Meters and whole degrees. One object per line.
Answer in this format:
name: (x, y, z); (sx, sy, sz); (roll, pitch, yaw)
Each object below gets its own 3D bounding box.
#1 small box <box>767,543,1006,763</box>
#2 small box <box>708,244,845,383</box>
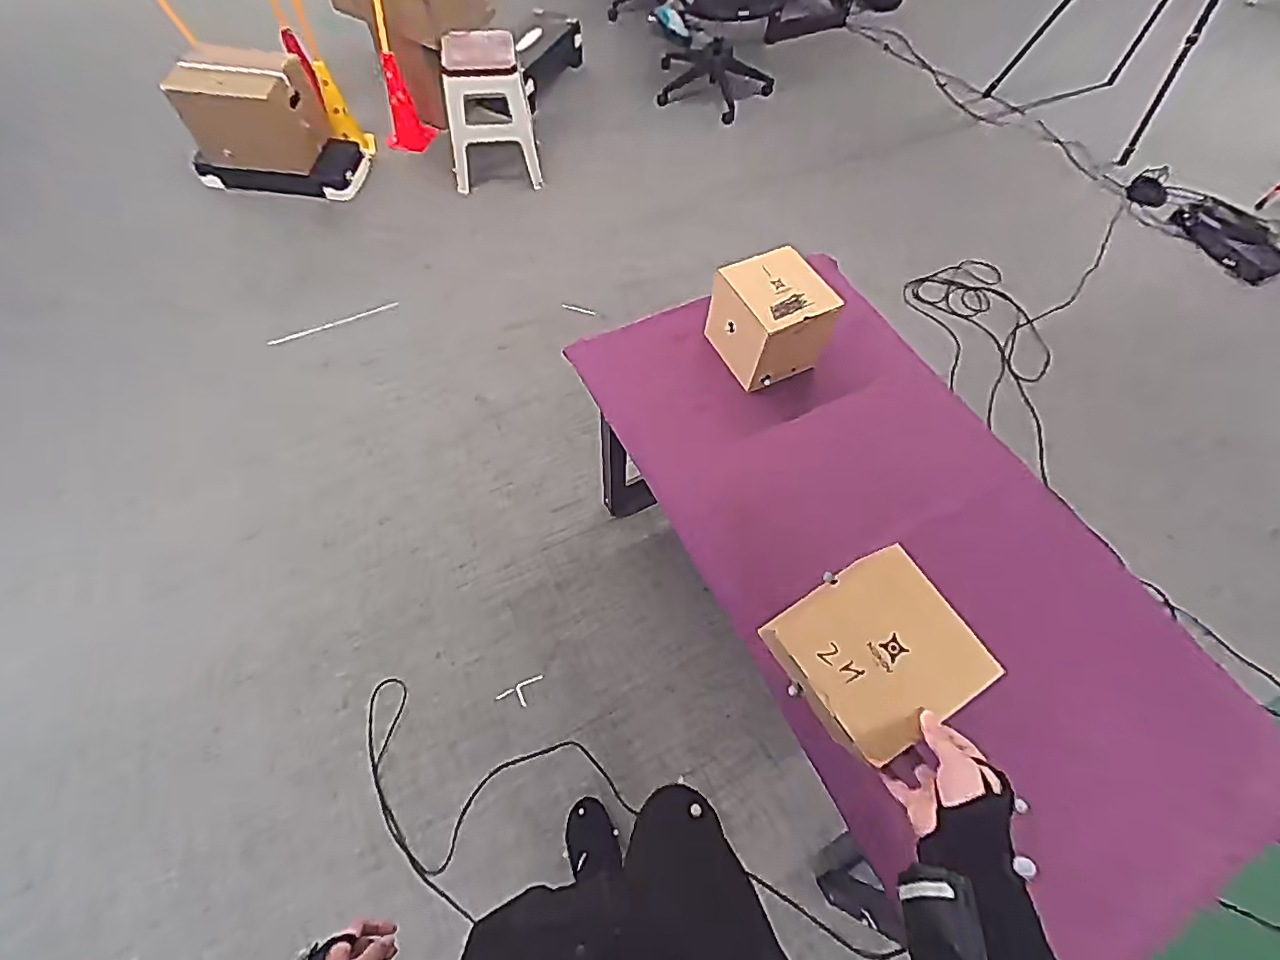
small box: (0.273, 0.198, 0.650); (0.179, 0.176, 0.168); (-34, 73, -3)
small box: (0.250, -0.308, 1.034); (0.168, 0.176, 0.179); (-23, 65, -15)
